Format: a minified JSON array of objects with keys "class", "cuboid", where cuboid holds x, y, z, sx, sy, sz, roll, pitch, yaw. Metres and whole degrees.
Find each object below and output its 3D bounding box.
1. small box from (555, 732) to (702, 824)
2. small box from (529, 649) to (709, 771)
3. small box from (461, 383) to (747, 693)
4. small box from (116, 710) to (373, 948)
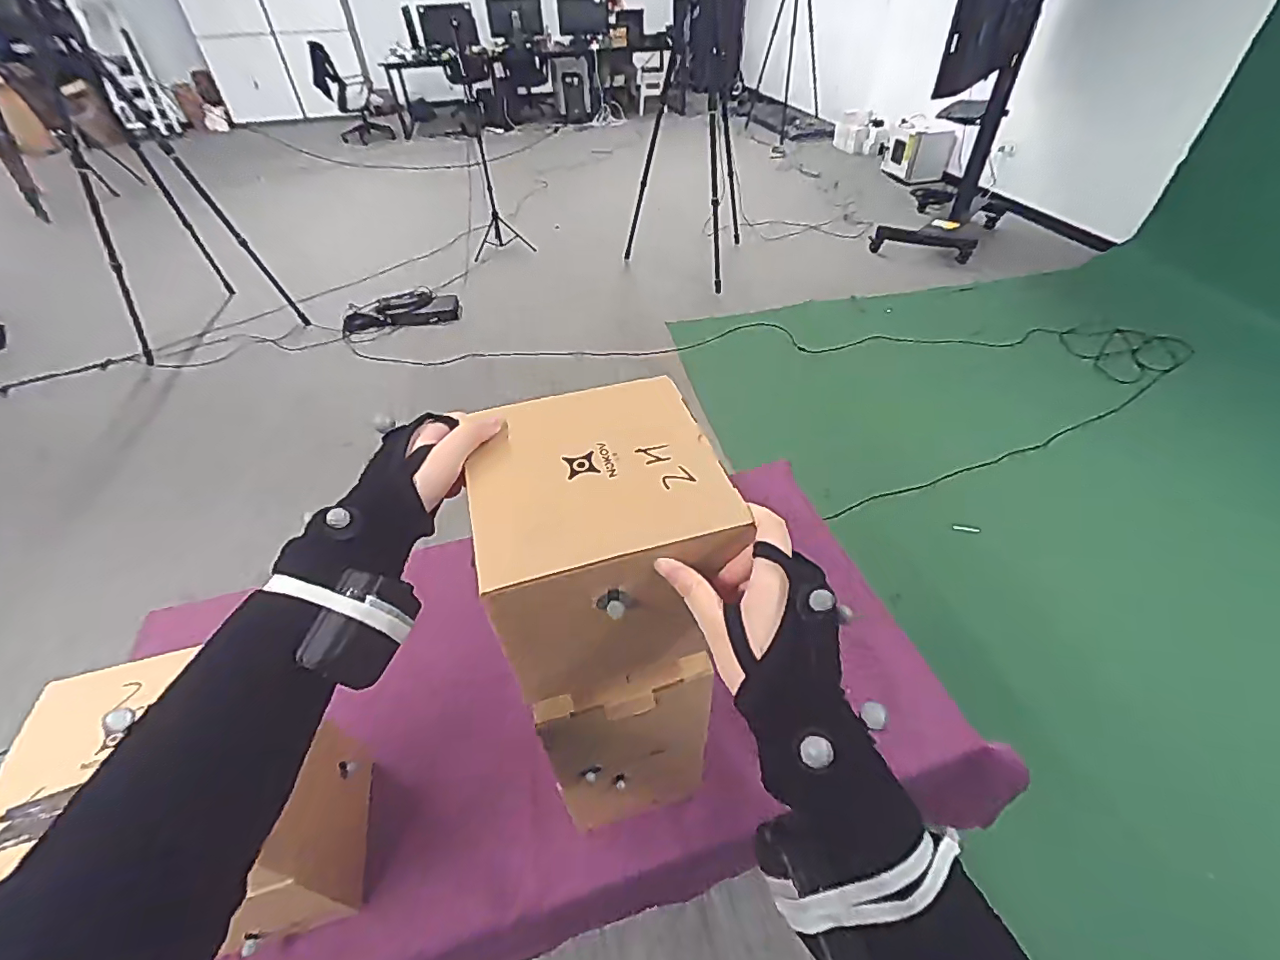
[{"class":"small box","cuboid":[-0.027,0.309,0.704,0.168,0.176,0.179,-14,45,-9]},{"class":"small box","cuboid":[-0.032,0.191,0.589,0.168,0.176,0.179,-13,45,-10]},{"class":"small box","cuboid":[-0.033,0.049,0.440,0.179,0.176,0.168,-12,49,-11]},{"class":"small box","cuboid":[-0.430,0.405,0.630,0.168,0.176,0.179,-13,46,-9]}]
